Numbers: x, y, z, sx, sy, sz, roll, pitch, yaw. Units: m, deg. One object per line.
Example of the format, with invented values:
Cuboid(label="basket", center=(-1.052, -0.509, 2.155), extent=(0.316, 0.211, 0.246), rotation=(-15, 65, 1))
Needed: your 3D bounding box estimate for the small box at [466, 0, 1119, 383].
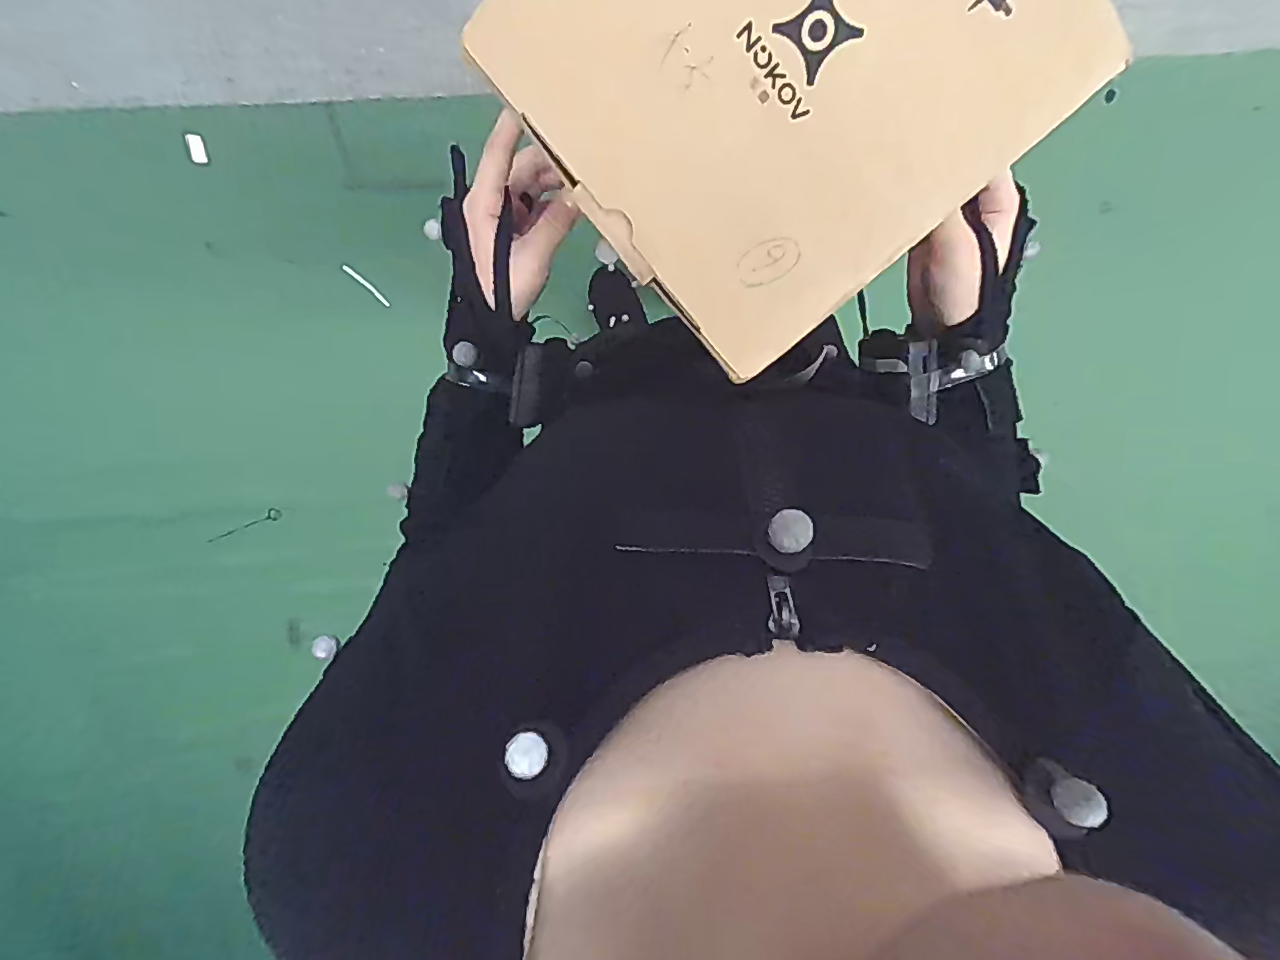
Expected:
Cuboid(label="small box", center=(0.056, -0.178, 0.266), extent=(0.179, 0.176, 0.168), rotation=(-38, 107, 16))
